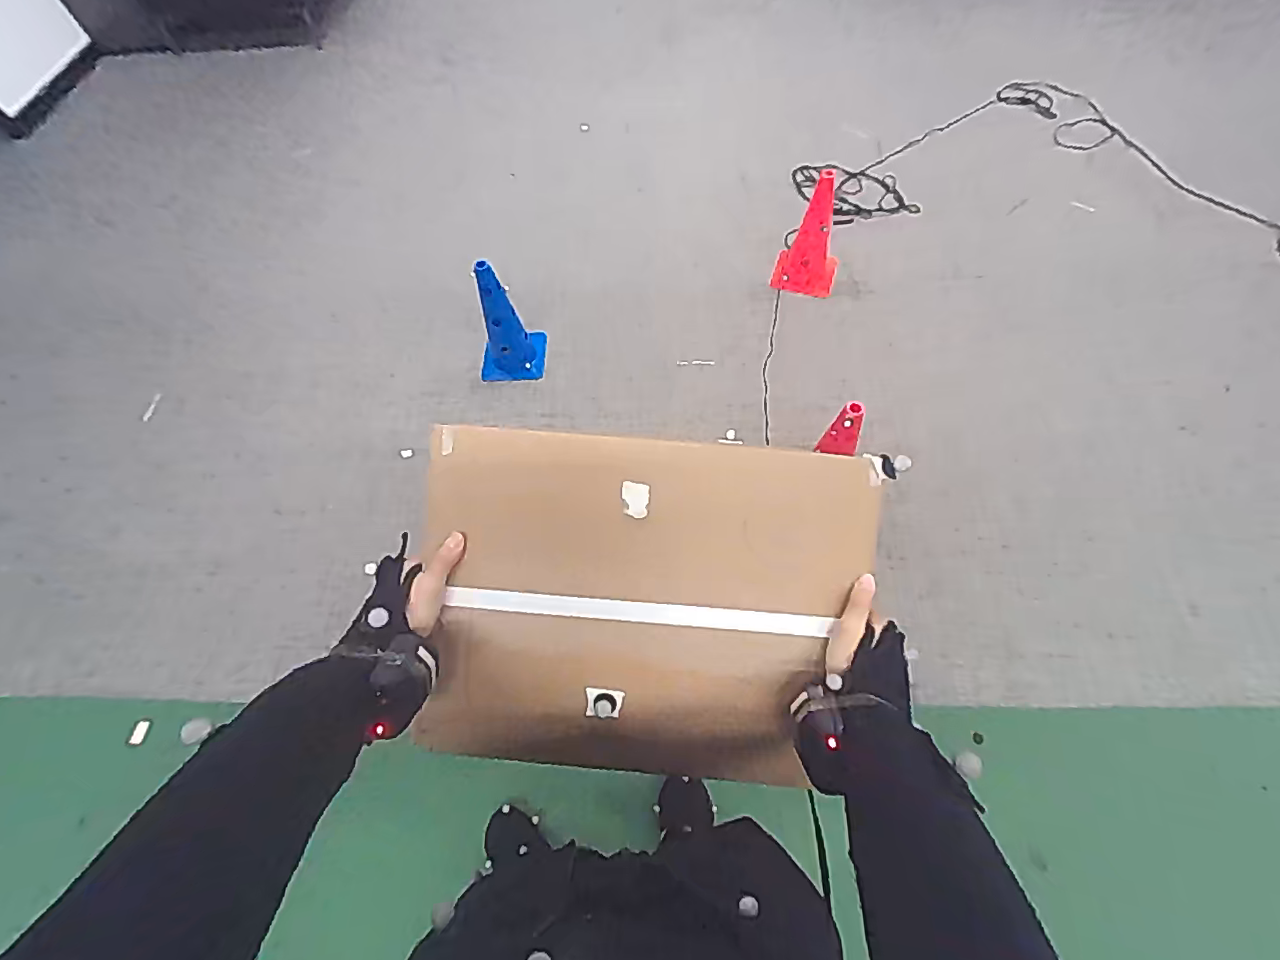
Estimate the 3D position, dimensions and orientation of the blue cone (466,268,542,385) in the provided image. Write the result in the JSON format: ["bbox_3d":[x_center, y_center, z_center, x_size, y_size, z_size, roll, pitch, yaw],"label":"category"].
[{"bbox_3d":[-0.429,-0.468,1.617,0.192,0.380,0.193,-1,59,5],"label":"blue cone"}]

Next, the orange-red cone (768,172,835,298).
[{"bbox_3d":[0.544,-0.789,1.702,0.199,0.360,0.198,17,64,13],"label":"orange-red cone"}]
